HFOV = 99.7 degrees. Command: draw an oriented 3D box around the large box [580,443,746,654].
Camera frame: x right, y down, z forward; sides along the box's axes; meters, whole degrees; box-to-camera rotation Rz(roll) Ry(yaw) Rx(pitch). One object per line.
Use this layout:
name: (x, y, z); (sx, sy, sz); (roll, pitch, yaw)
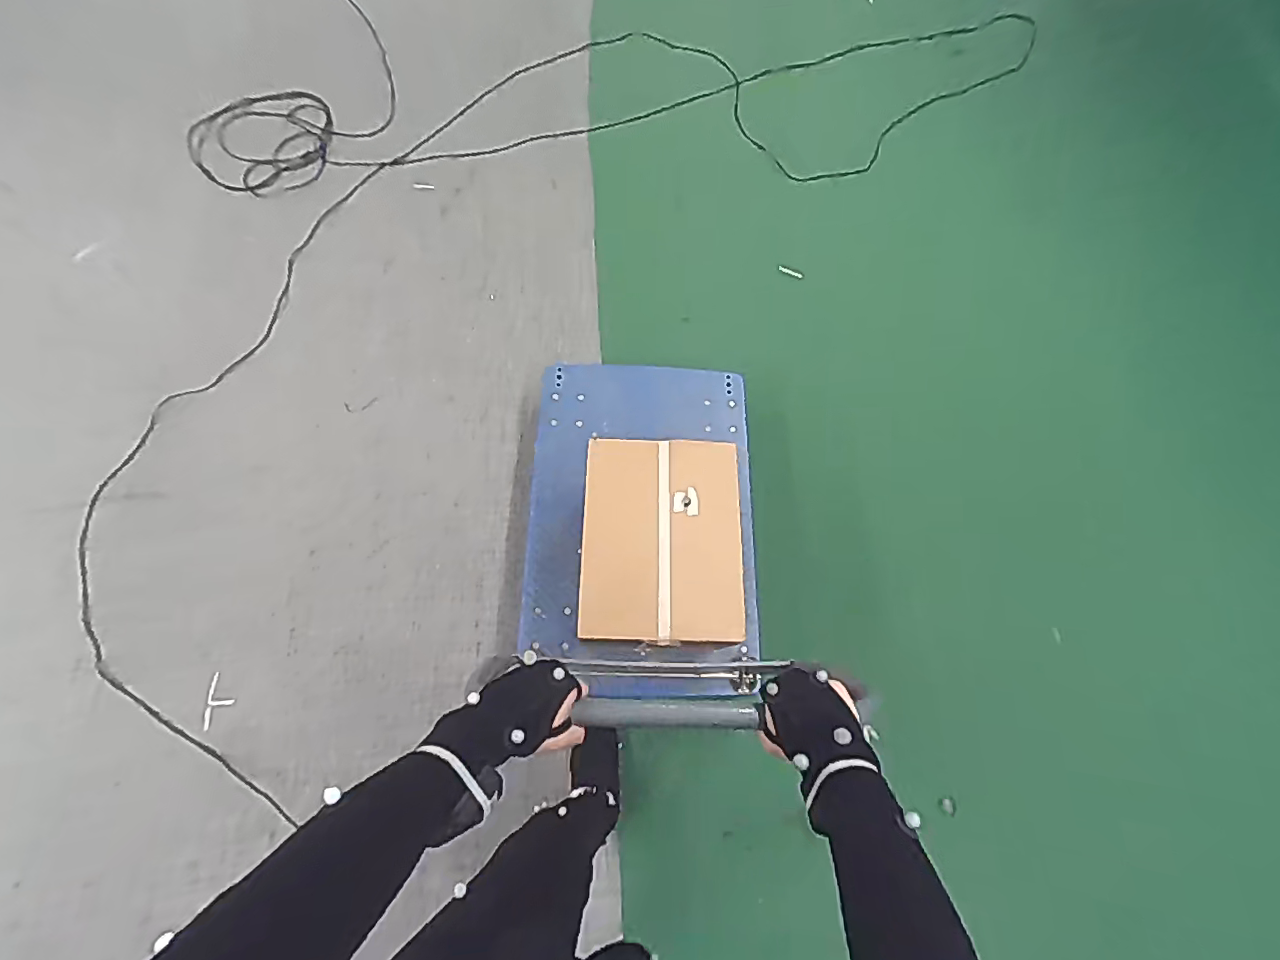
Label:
large box: (0.036, 0.167, 1.204); (0.320, 0.320, 0.408); (2, 68, -4)
